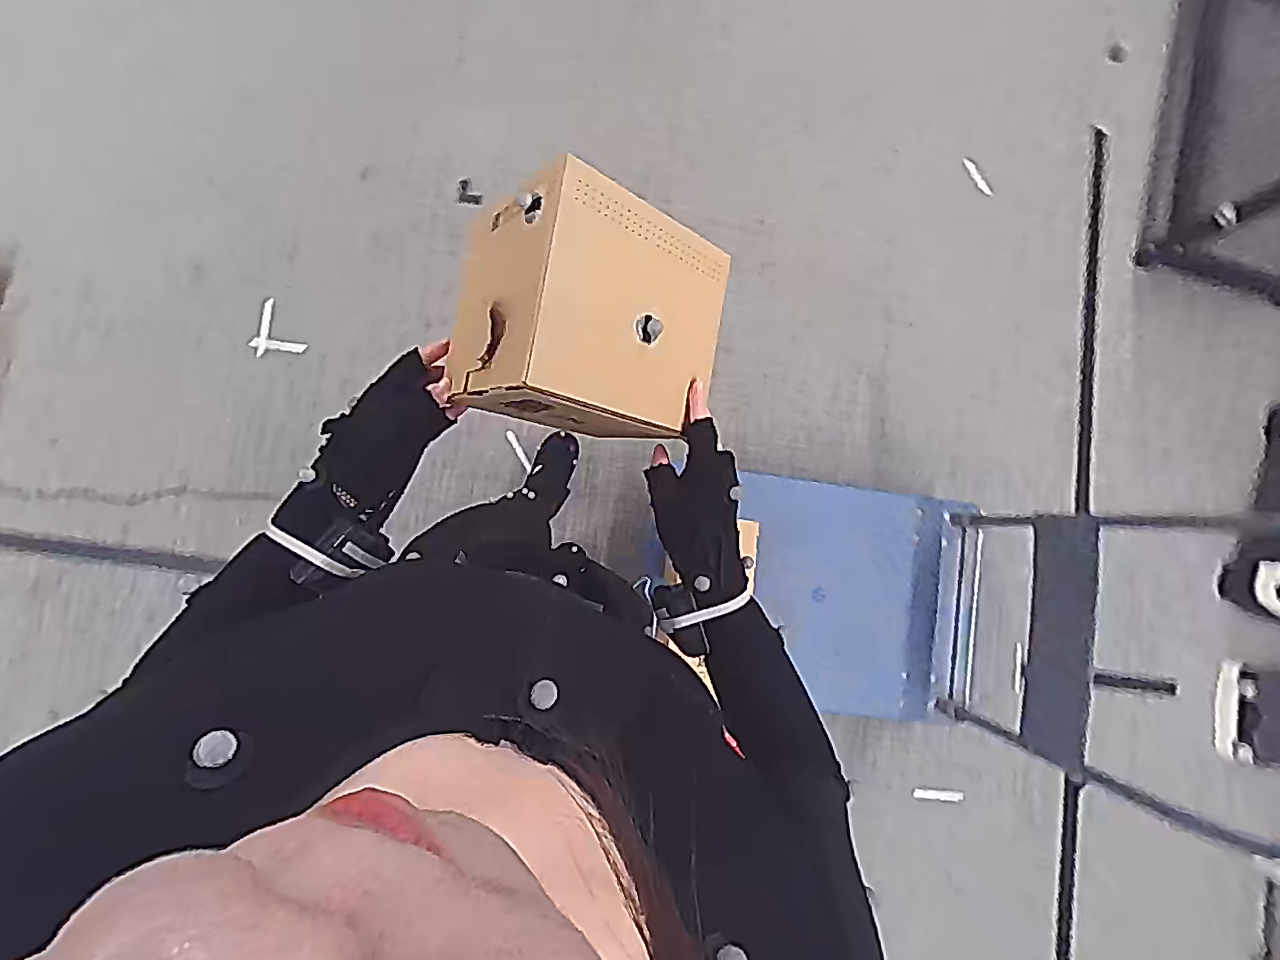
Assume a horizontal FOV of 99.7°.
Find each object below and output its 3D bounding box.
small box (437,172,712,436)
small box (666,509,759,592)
[{"bbox_3d":[-0.057,-0.139,0.482,0.179,0.168,0.176,9,87,-39],"label":"small box"},{"bbox_3d":[0.162,0.162,1.268,0.179,0.176,0.168,7,86,-7],"label":"small box"}]
